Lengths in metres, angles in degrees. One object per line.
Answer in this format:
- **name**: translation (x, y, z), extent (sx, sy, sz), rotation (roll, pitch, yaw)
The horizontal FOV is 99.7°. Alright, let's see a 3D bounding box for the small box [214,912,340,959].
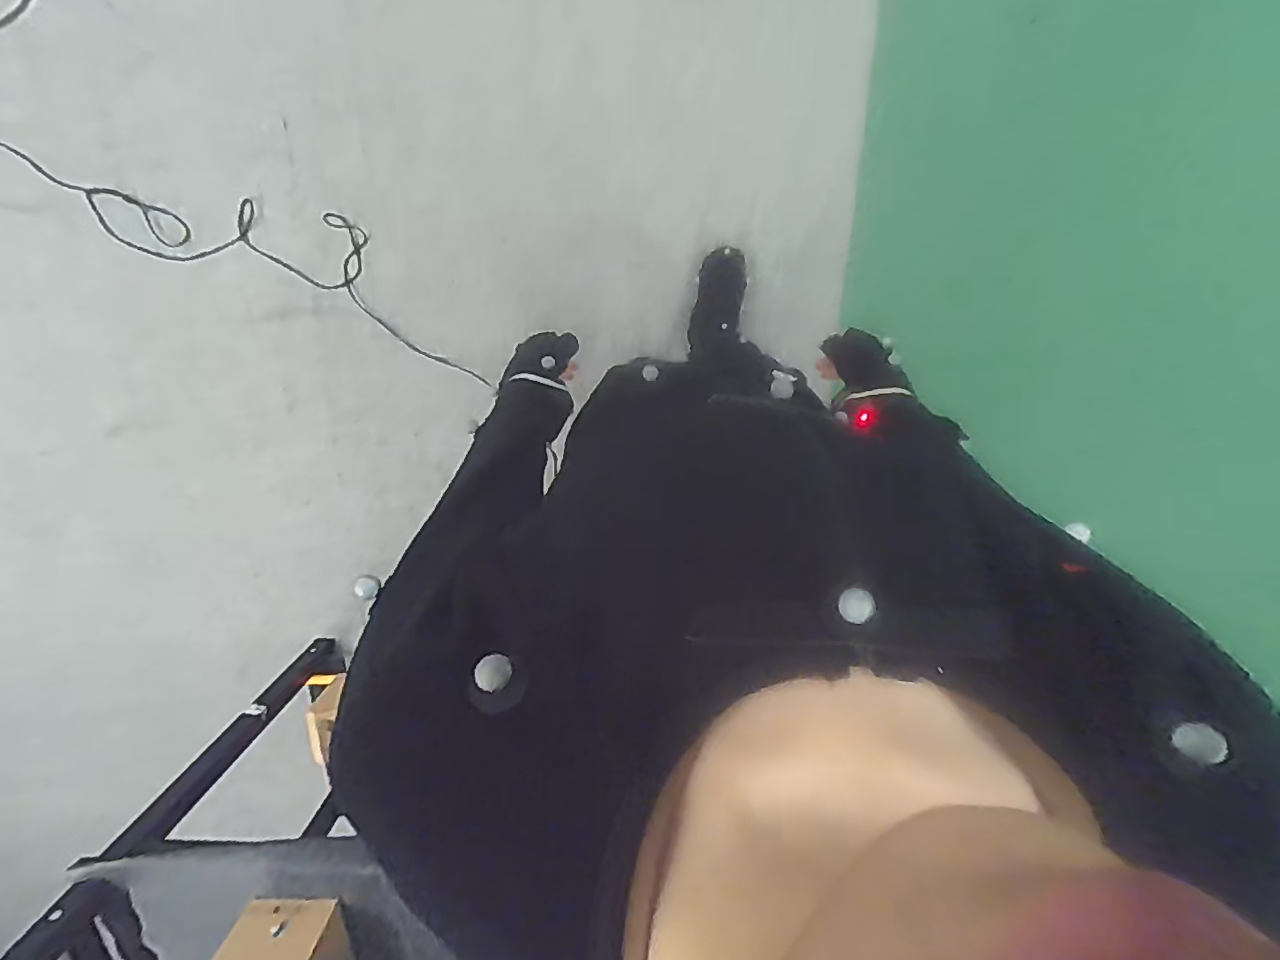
- **small box**: translation (-0.633, 0.885, 0.919), extent (0.168, 0.176, 0.179), rotation (0, 108, 0)
